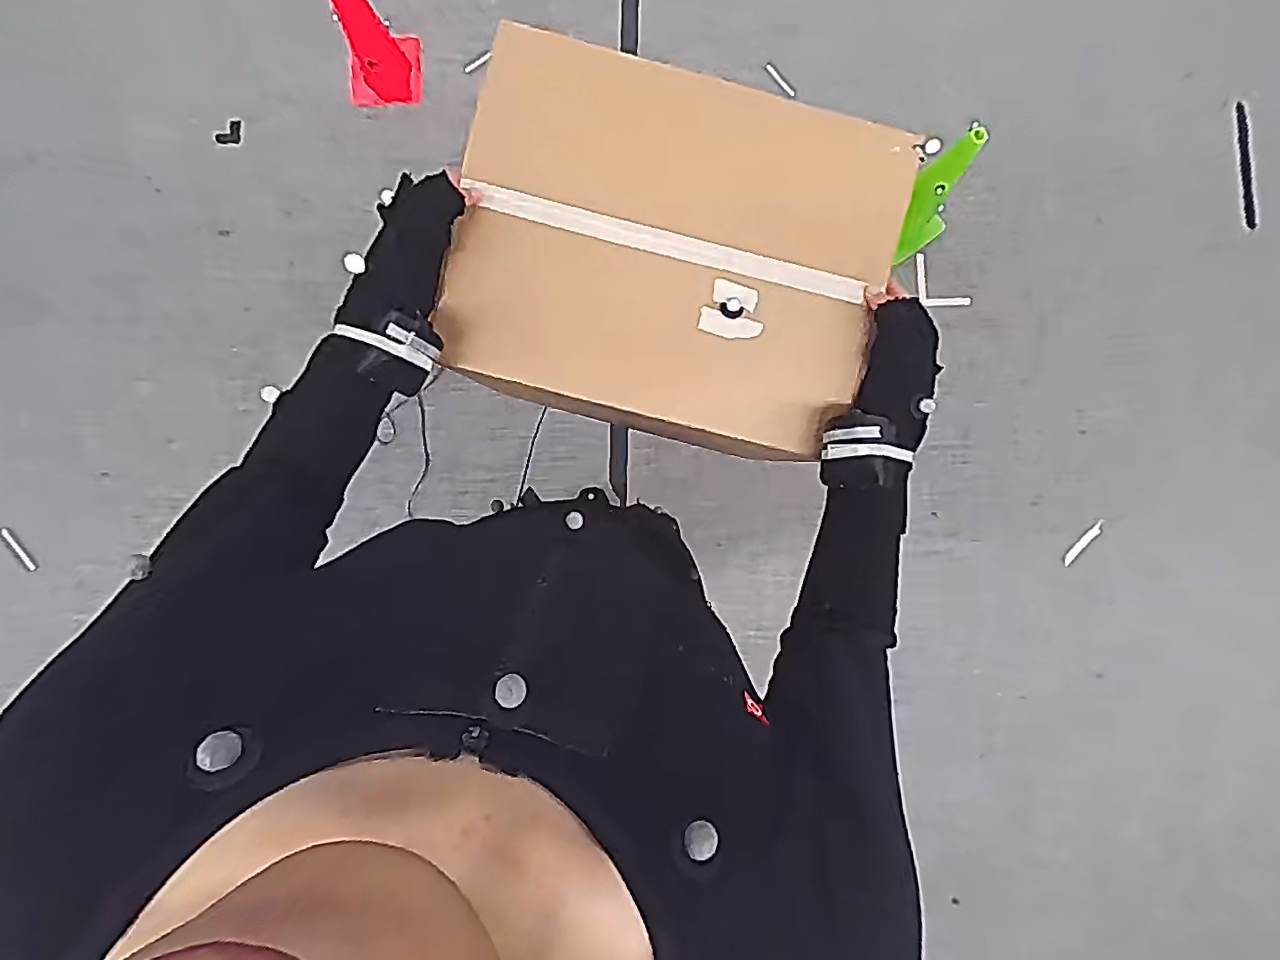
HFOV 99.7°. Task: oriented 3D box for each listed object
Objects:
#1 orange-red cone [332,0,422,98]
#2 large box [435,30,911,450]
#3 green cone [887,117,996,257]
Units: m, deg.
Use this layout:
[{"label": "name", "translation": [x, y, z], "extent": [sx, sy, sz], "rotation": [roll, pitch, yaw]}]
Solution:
[{"label": "orange-red cone", "translation": [-0.719, -1.188, 1.366], "extent": [0.198, 0.360, 0.199], "rotation": [-2, 88, -1]}, {"label": "large box", "translation": [0.025, -0.230, 0.655], "extent": [0.408, 0.320, 0.320], "rotation": [13, 93, -2]}, {"label": "green cone", "translation": [0.762, -0.772, 1.379], "extent": [0.202, 0.368, 0.200], "rotation": [-37, 89, -5]}]
